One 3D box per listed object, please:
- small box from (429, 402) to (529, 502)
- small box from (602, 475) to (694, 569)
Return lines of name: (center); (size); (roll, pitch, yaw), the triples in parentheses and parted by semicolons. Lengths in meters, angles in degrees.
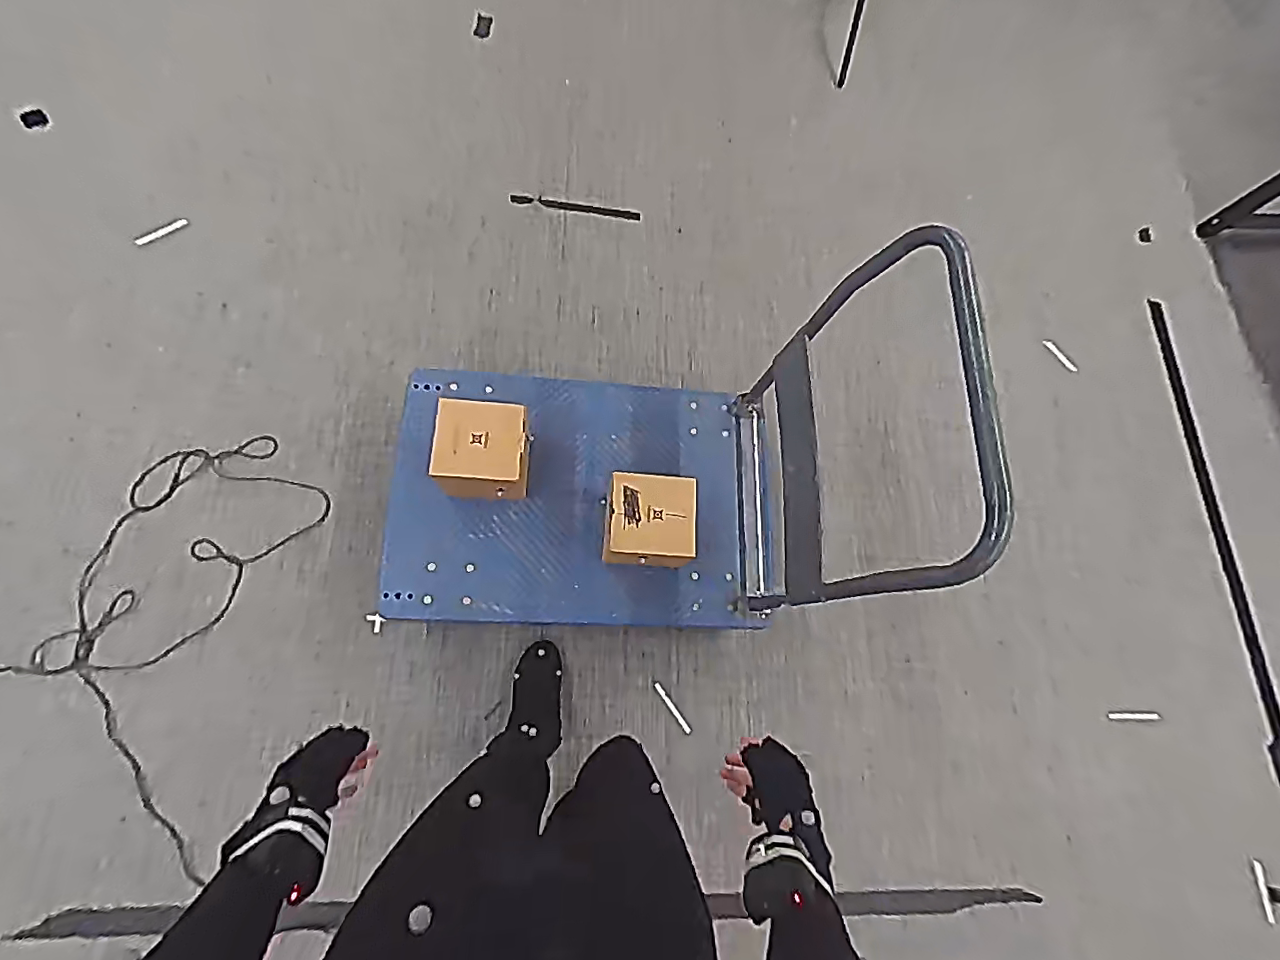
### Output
small box: (-0.335, -0.052, 1.162); (0.179, 0.176, 0.168); (3, 73, -7)
small box: (0.013, 0.097, 1.168); (0.179, 0.176, 0.168); (5, 73, -7)
